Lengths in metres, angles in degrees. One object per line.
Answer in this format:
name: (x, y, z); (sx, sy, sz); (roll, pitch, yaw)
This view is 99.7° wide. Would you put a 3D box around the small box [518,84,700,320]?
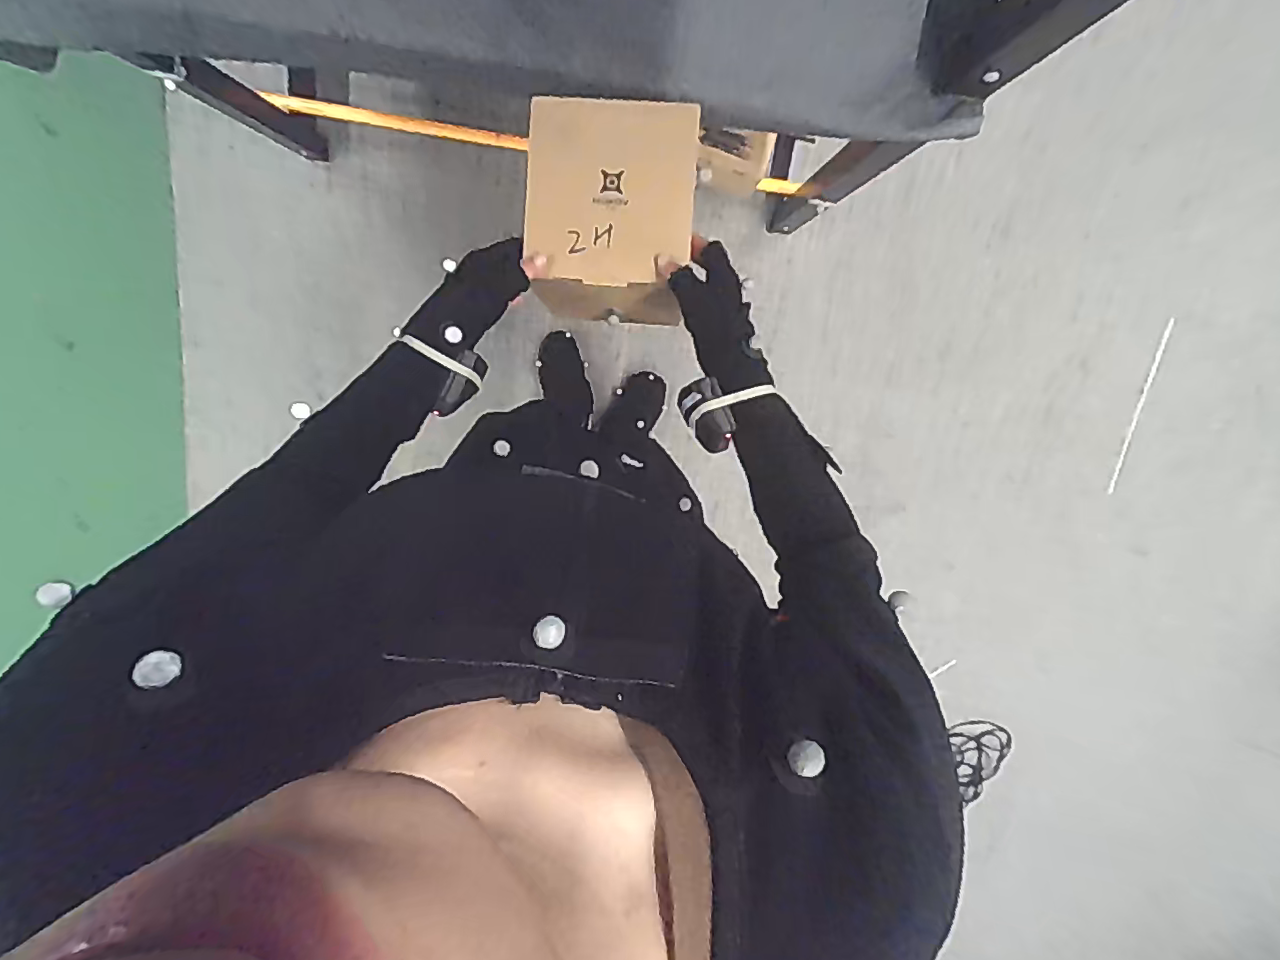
small box: (-0.028, -0.290, 0.598); (0.168, 0.176, 0.179); (4, 94, 3)
